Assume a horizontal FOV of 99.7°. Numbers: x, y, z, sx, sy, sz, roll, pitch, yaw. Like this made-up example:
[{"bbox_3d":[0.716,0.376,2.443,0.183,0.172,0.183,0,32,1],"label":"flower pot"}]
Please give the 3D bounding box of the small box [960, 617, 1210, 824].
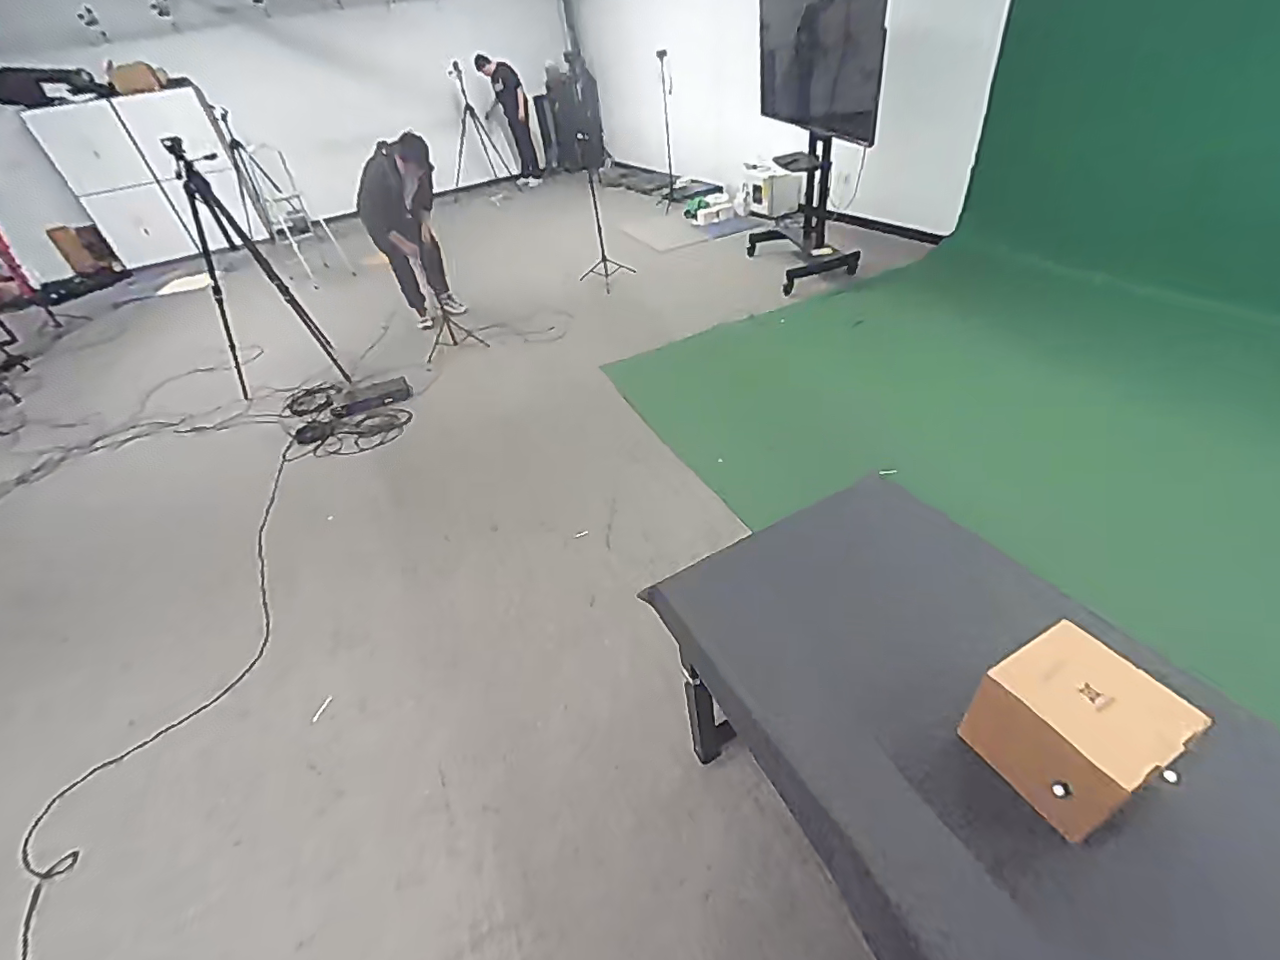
[{"bbox_3d":[0.582,0.330,0.734,0.168,0.176,0.179,-22,41,-18],"label":"small box"}]
